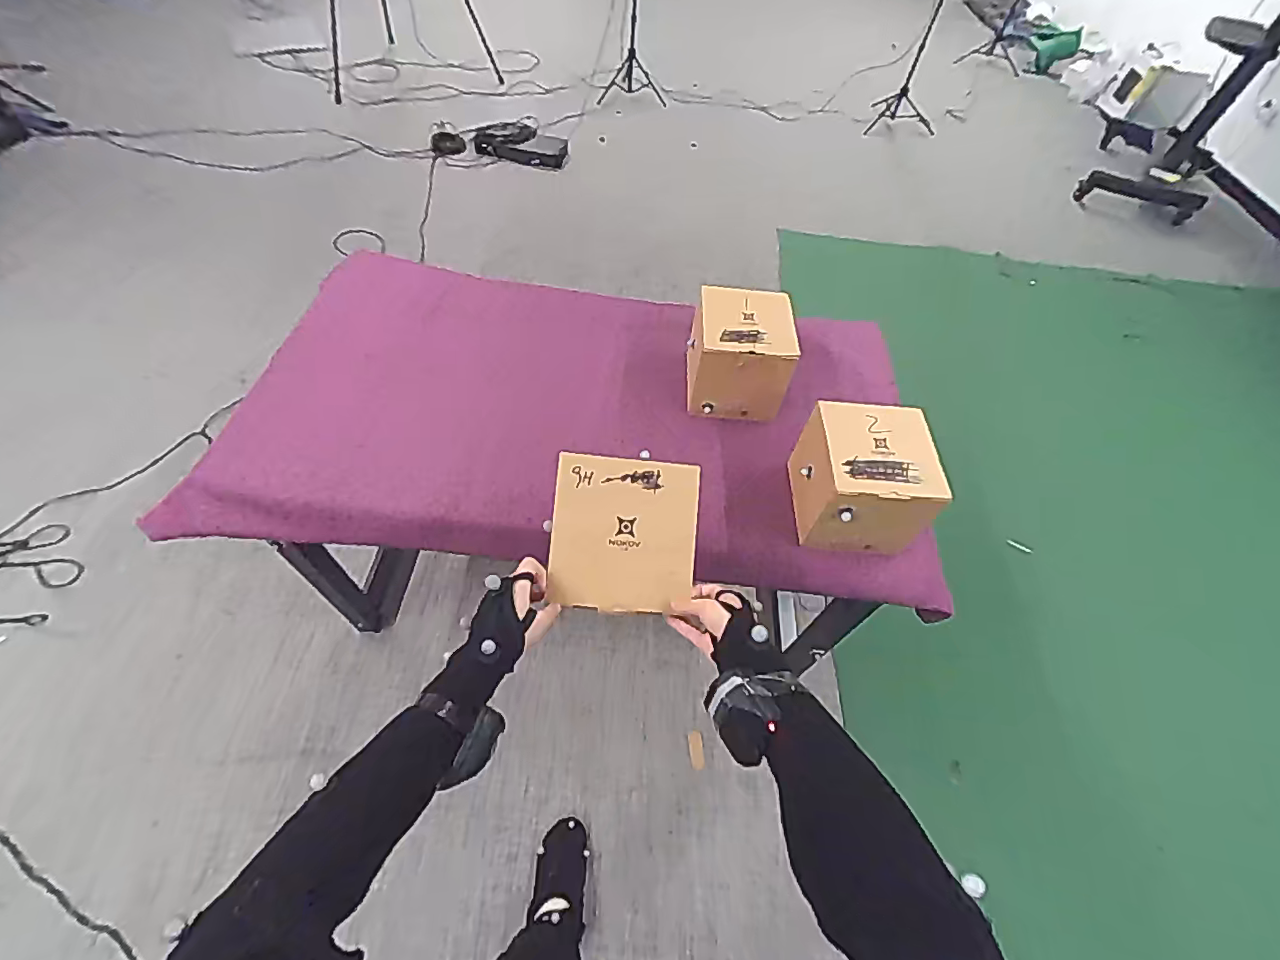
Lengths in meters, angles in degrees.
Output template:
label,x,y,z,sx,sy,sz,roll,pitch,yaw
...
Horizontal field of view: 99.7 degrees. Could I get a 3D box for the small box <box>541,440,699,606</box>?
label,x,y,z,sx,sy,sz,roll,pitch,yaw
small box,-0.029,0.052,0.691,0.168,0.176,0.179,6,87,-6

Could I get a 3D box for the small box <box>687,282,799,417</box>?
label,x,y,z,sx,sy,sz,roll,pitch,yaw
small box,0.182,-0.237,1.002,0.168,0.176,0.179,5,55,-2
